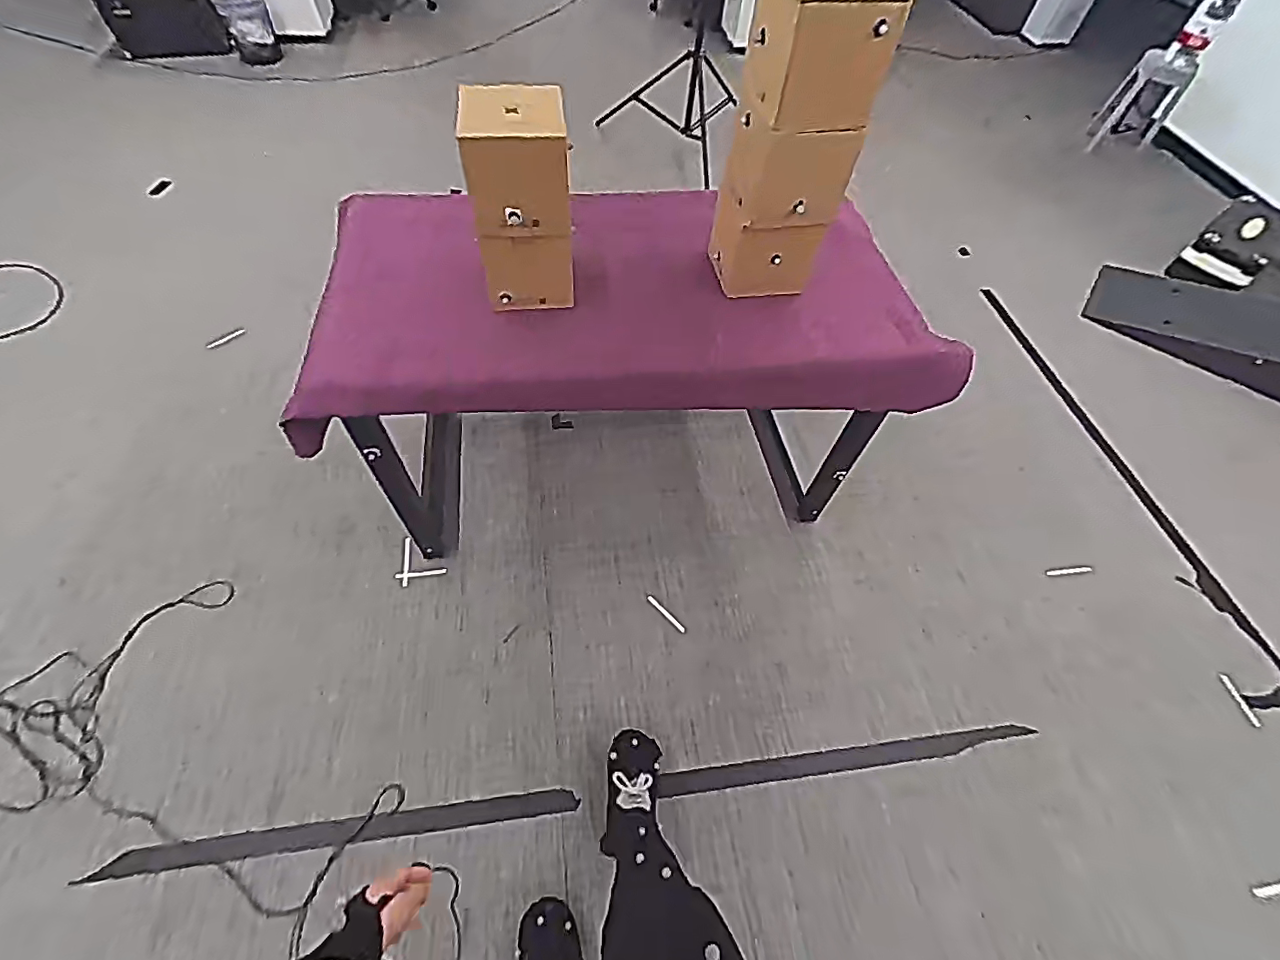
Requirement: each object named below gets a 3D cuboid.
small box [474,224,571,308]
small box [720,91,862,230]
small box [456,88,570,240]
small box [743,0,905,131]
[{"bbox_3d":[-0.226,-0.455,1.064,0.168,0.176,0.179,-5,56,-8],"label":"small box"},{"bbox_3d":[0.266,-0.584,0.993,0.179,0.176,0.168,-9,57,-11],"label":"small box"},{"bbox_3d":[-0.210,-0.535,0.923,0.168,0.176,0.179,-6,58,-8],"label":"small box"},{"bbox_3d":[0.274,-0.681,0.862,0.179,0.176,0.168,-9,57,-10],"label":"small box"}]
